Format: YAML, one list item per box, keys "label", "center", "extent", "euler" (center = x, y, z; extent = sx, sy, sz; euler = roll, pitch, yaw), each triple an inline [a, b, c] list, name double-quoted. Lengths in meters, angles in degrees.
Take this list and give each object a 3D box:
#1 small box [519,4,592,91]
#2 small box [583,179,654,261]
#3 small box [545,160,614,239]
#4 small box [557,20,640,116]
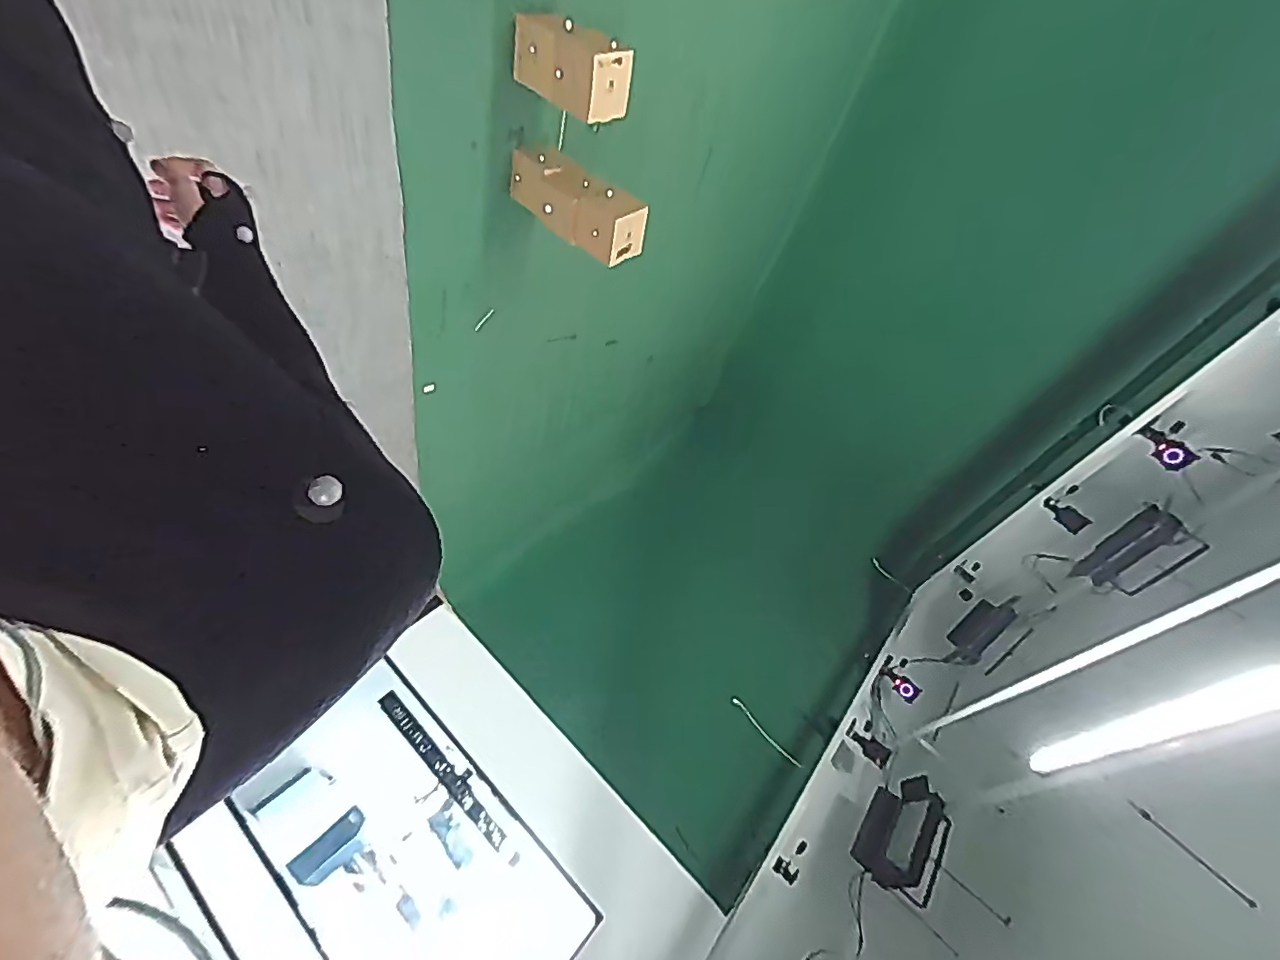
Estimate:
- label: "small box"
  center: [-0.248, -1.313, 1.643]
  extent: [0.179, 0.176, 0.168]
  euler: [-37, 159, -36]
- label: "small box"
  center: [-0.078, -0.888, 1.844]
  extent: [0.168, 0.176, 0.179]
  euler: [-38, 159, -30]
- label: "small box"
  center: [-0.209, -0.982, 1.885]
  extent: [0.179, 0.176, 0.168]
  euler: [-38, 160, -28]
- label: "small box"
  center: [-0.128, -1.213, 1.592]
  extent: [0.168, 0.176, 0.179]
  euler: [-38, 160, -33]
